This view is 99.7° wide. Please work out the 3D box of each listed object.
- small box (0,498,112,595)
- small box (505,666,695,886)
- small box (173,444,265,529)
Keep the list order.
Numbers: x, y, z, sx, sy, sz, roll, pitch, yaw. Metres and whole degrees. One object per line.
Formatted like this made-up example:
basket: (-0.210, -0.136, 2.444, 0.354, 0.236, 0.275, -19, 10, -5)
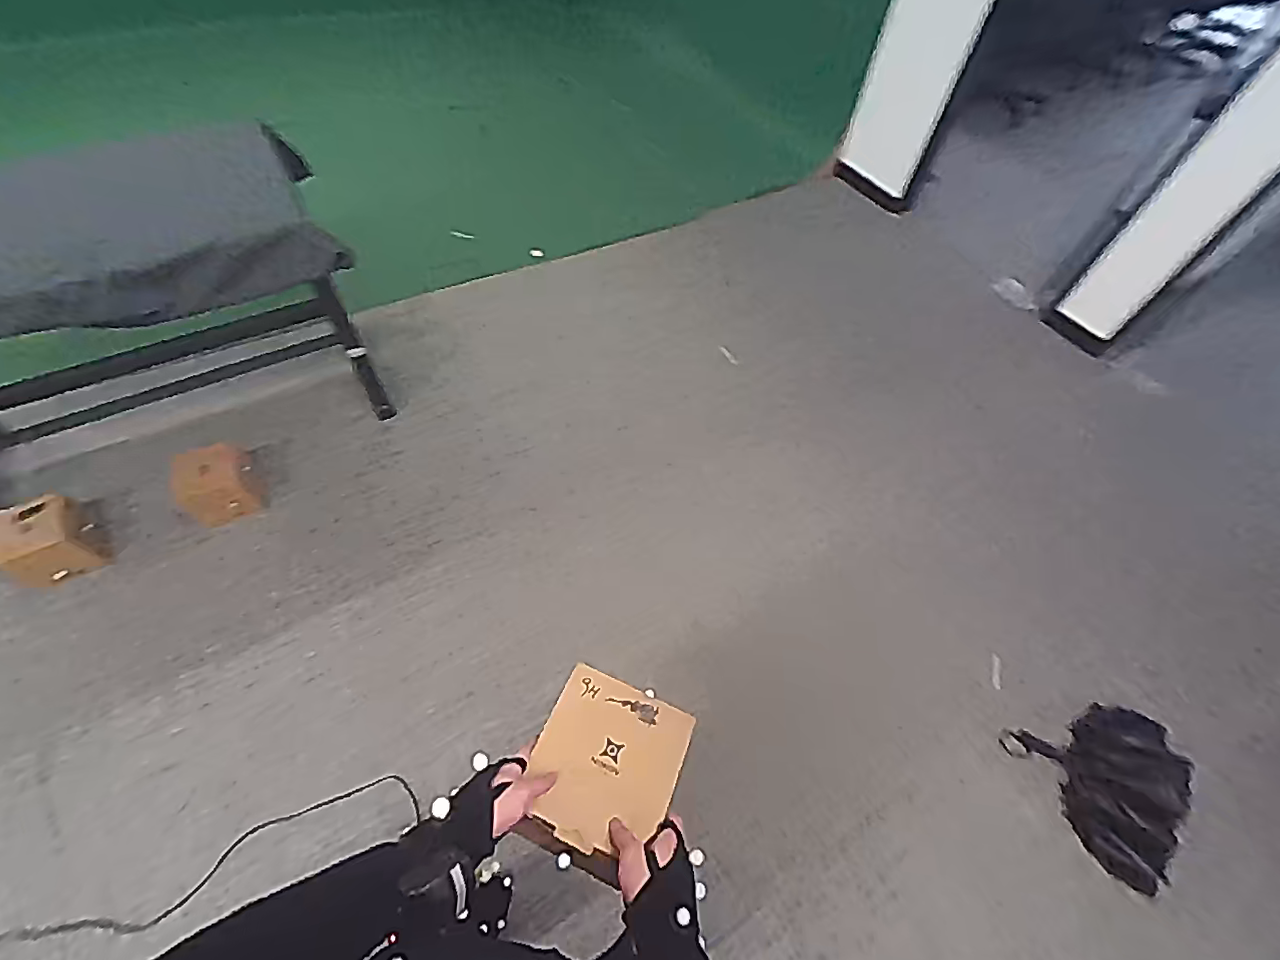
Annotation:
small box: (-1.627, 0.187, 1.501, 0.168, 0.176, 0.179, -26, 63, -19)
small box: (-0.048, 0.370, 0.670, 0.168, 0.176, 0.179, 21, 49, 7)
small box: (-1.269, 0.028, 1.636, 0.168, 0.176, 0.179, -20, 59, -18)
